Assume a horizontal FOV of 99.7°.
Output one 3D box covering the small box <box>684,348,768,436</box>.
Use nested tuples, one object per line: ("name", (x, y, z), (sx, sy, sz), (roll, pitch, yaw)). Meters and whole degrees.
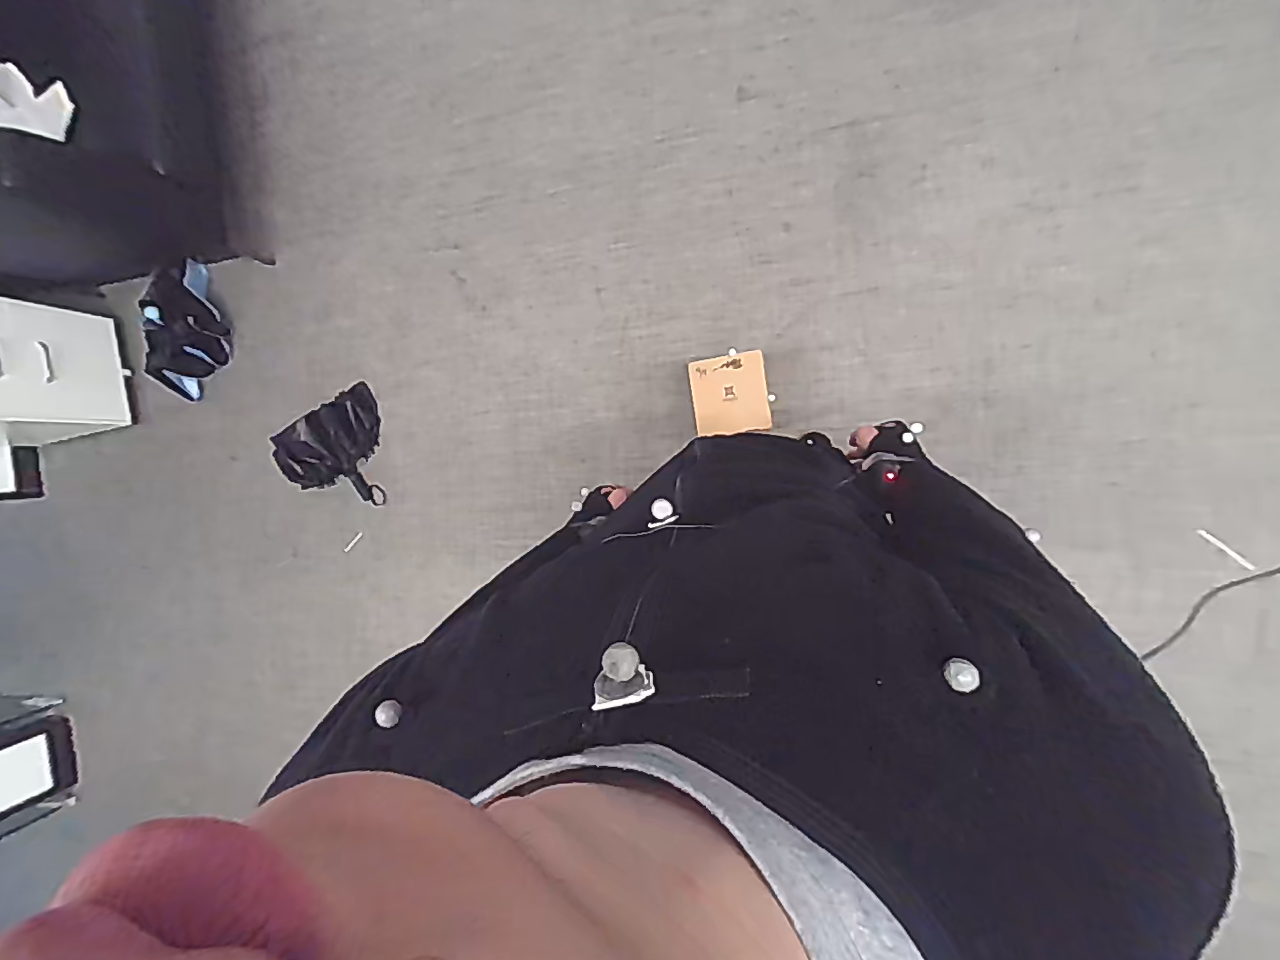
("small box", (0.209, -0.203, 1.281), (0.168, 0.176, 0.179), (-8, 93, 15))
